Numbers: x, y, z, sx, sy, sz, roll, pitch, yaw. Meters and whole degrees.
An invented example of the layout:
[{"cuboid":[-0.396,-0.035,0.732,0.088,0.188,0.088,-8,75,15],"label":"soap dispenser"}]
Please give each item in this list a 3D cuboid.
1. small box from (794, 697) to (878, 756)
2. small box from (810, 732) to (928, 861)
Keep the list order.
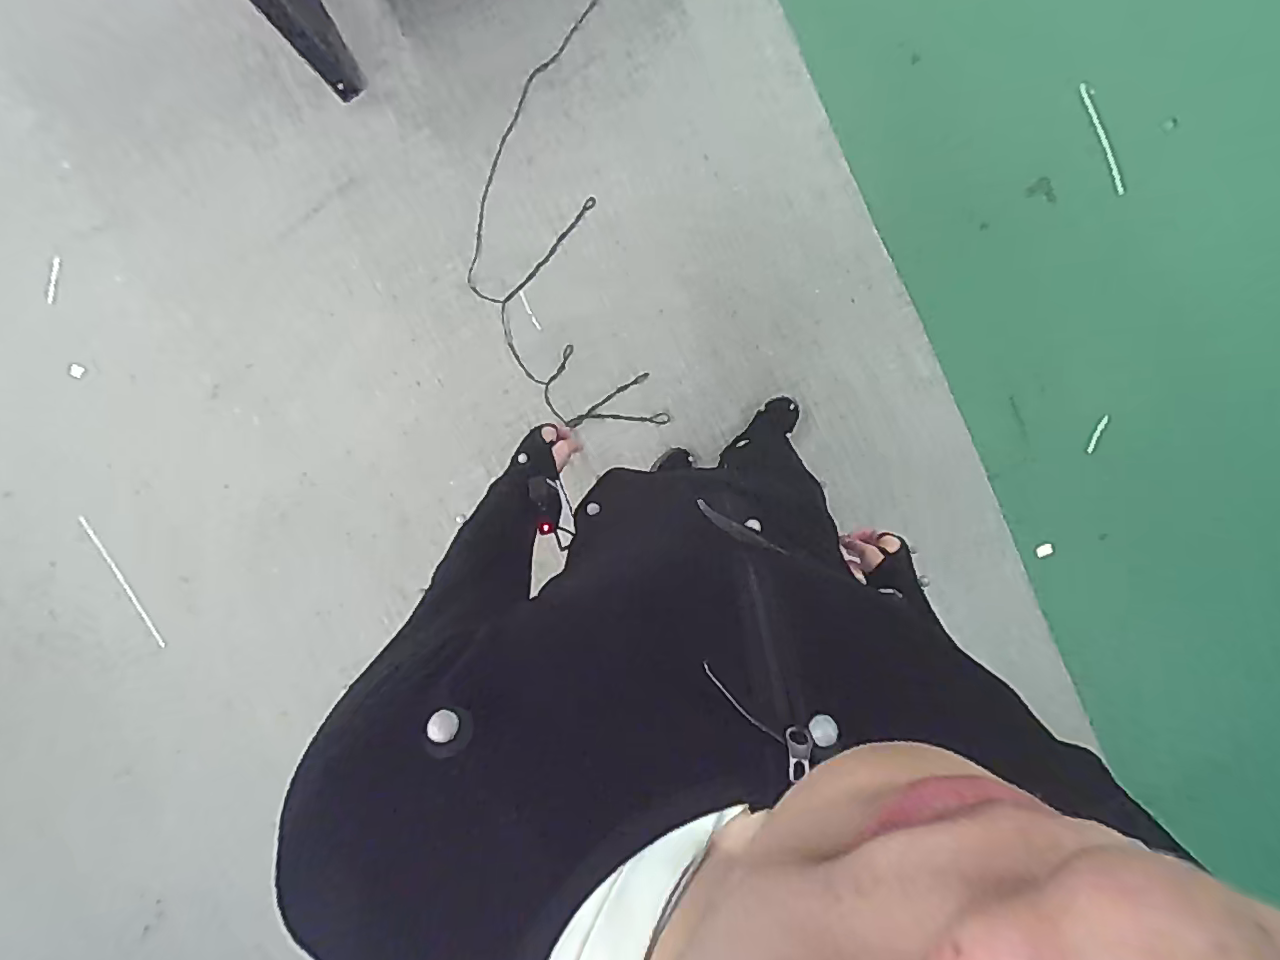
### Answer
[{"cuboid":[0.531,0.705,1.428,0.168,0.176,0.179,-29,96,3],"label":"small box"},{"cuboid":[0.526,0.726,1.268,0.168,0.176,0.179,-29,96,3],"label":"small box"}]
